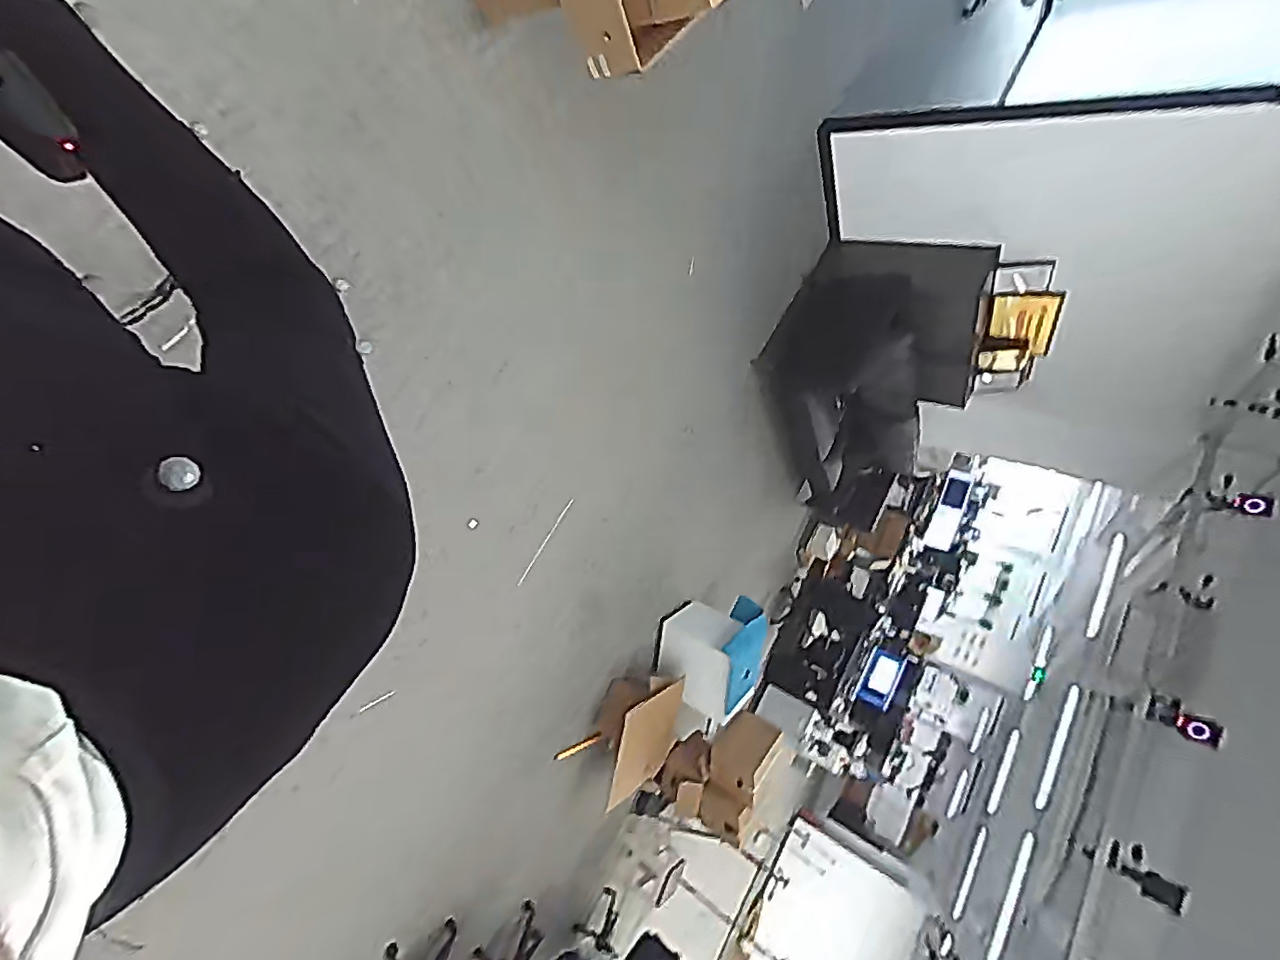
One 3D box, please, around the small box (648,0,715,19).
[{"bbox_3d":[0.114,-1.247,1.292,0.179,0.176,0.168,-54,143,-22],"label":"small box"}]
